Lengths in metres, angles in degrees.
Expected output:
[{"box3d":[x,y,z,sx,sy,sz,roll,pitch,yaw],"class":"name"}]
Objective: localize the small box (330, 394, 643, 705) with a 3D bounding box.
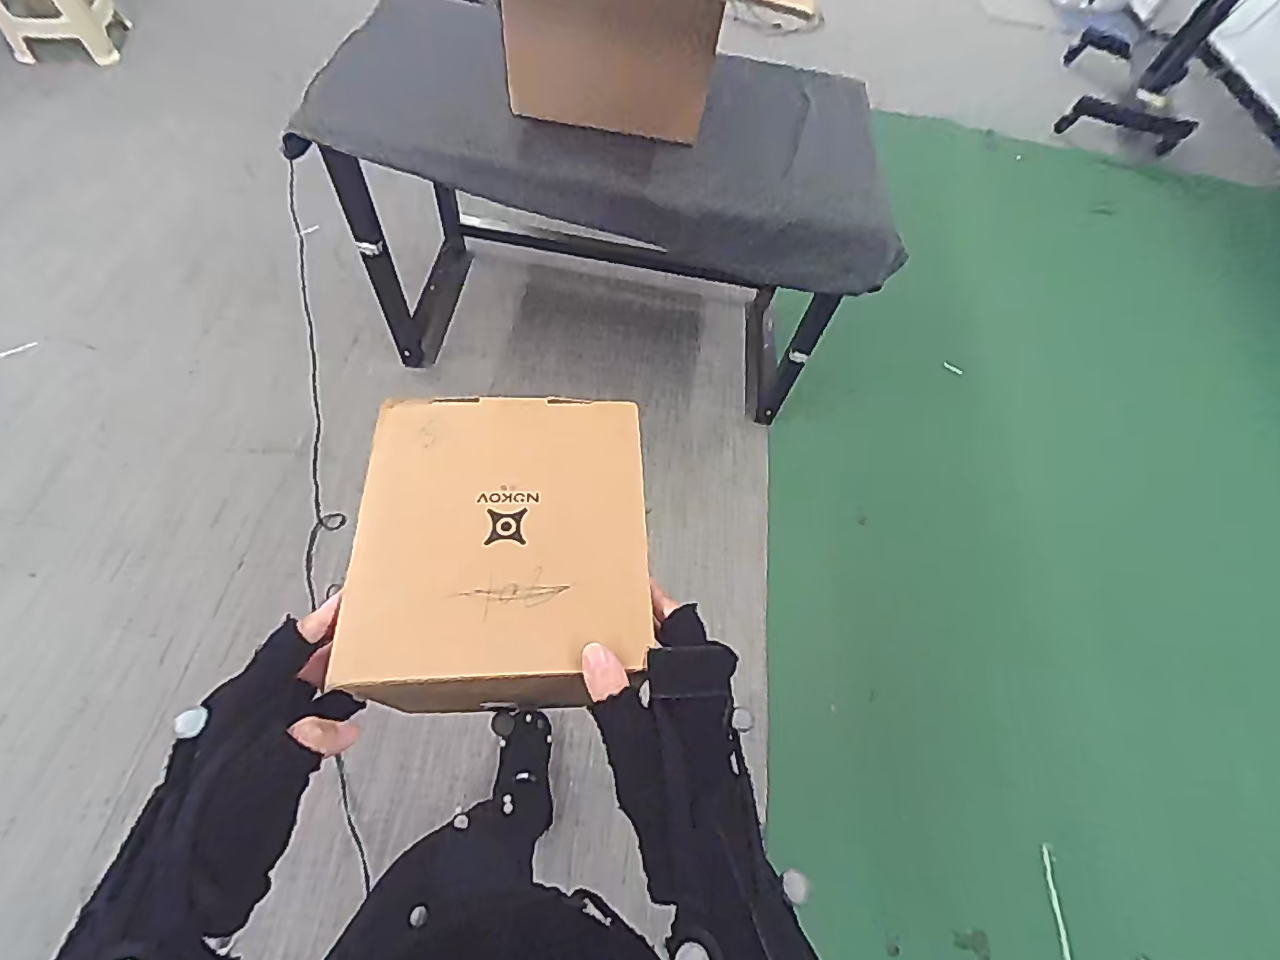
[{"box3d":[-0.090,0.058,0.394,0.168,0.176,0.179,0,62,-6],"class":"small box"}]
